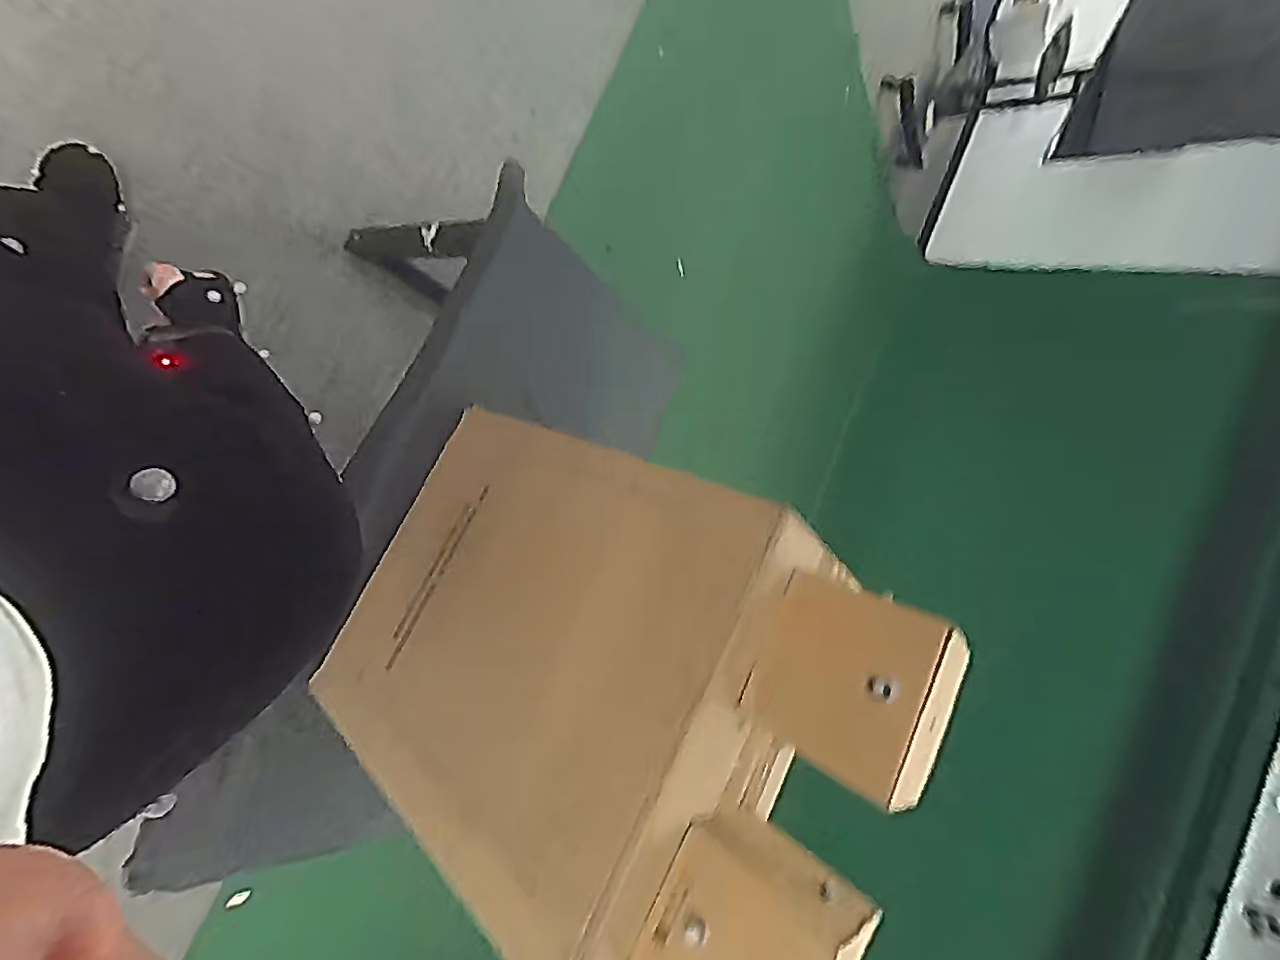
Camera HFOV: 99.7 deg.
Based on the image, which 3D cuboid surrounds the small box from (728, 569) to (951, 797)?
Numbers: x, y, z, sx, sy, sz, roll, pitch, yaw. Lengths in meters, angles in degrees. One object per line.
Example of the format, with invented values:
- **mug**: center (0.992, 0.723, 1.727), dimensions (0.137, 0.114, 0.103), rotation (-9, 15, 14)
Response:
- **small box**: center (0.227, 0.222, 0.614), dimensions (0.168, 0.176, 0.179), rotation (36, 78, -48)

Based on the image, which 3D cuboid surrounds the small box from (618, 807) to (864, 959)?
- **small box**: center (0.111, 0.484, 0.583), dimensions (0.179, 0.176, 0.168), rotation (36, 78, -49)
